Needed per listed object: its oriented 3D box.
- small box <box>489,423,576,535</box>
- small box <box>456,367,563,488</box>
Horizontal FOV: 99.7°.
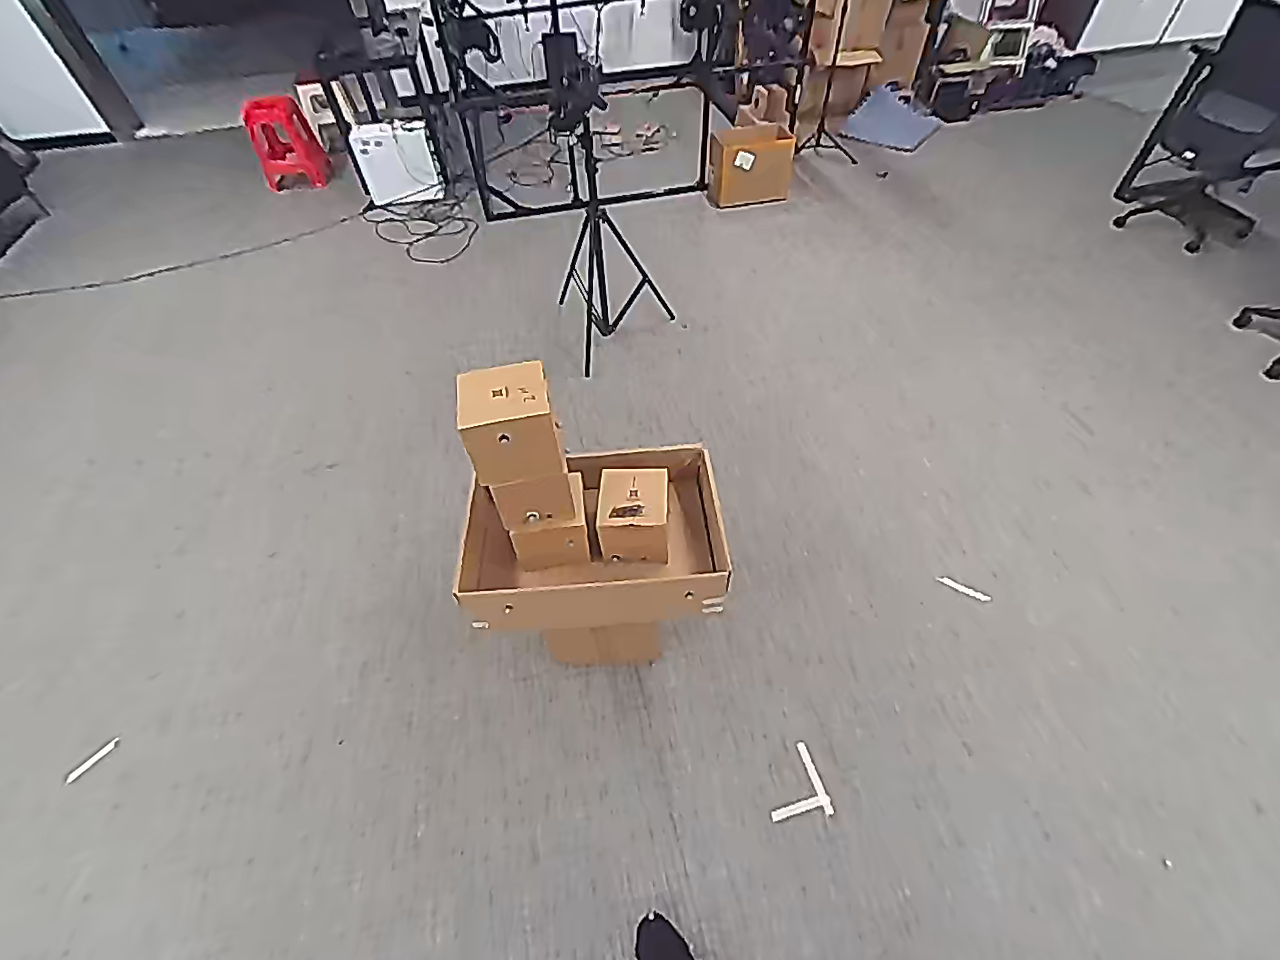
[{"bbox_3d":[-0.247,0.000,1.234,0.168,0.176,0.179,-11,50,-7],"label":"small box"},{"bbox_3d":[-0.264,-0.103,1.107,0.179,0.176,0.168,-11,51,-6],"label":"small box"}]
